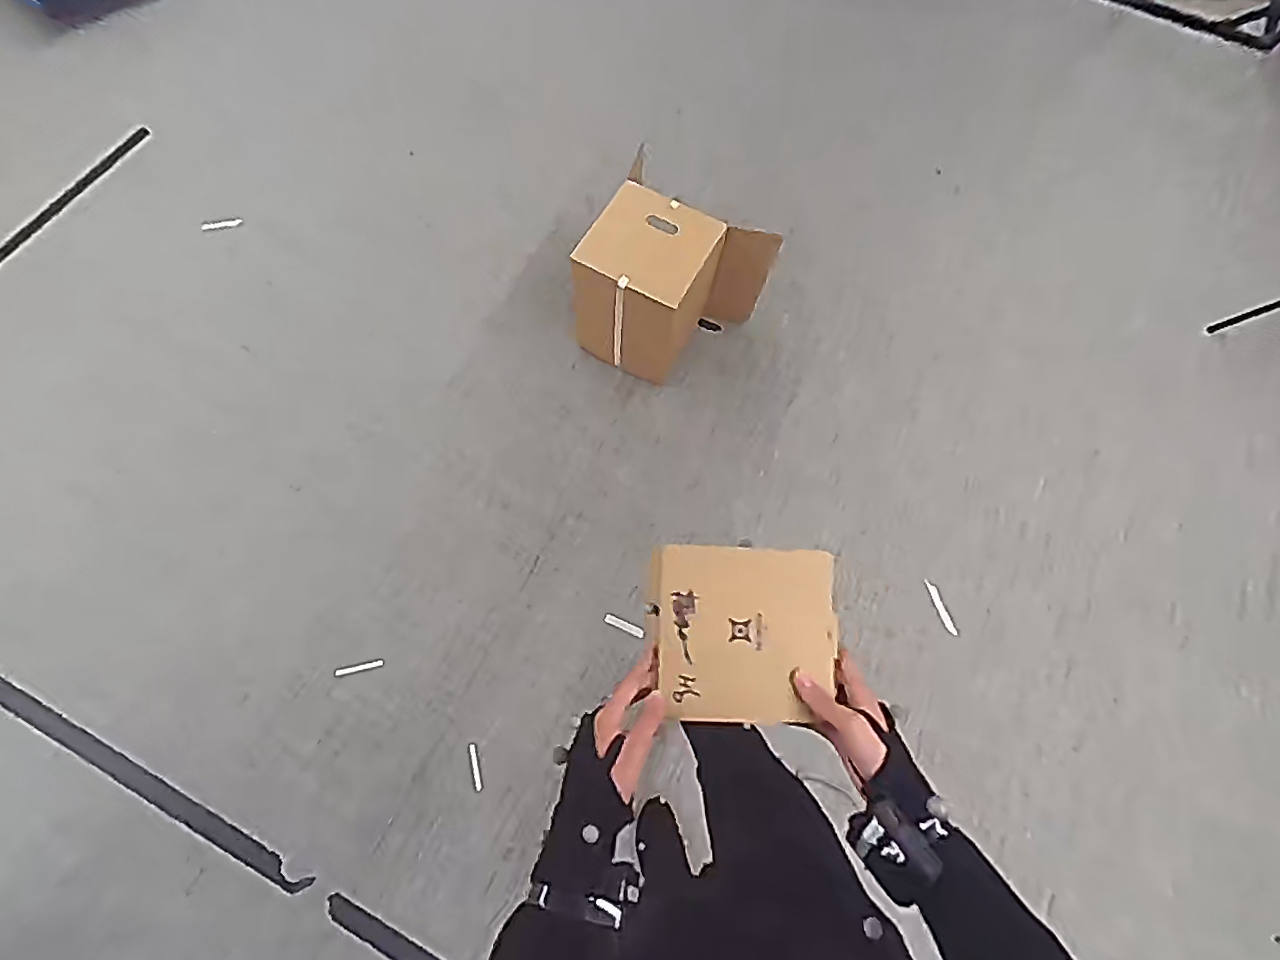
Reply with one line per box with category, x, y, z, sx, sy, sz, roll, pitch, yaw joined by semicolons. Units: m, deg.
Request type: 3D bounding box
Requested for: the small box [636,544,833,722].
small box;0.094;0.160;0.601;0.179;0.176;0.168;3;79;-5
